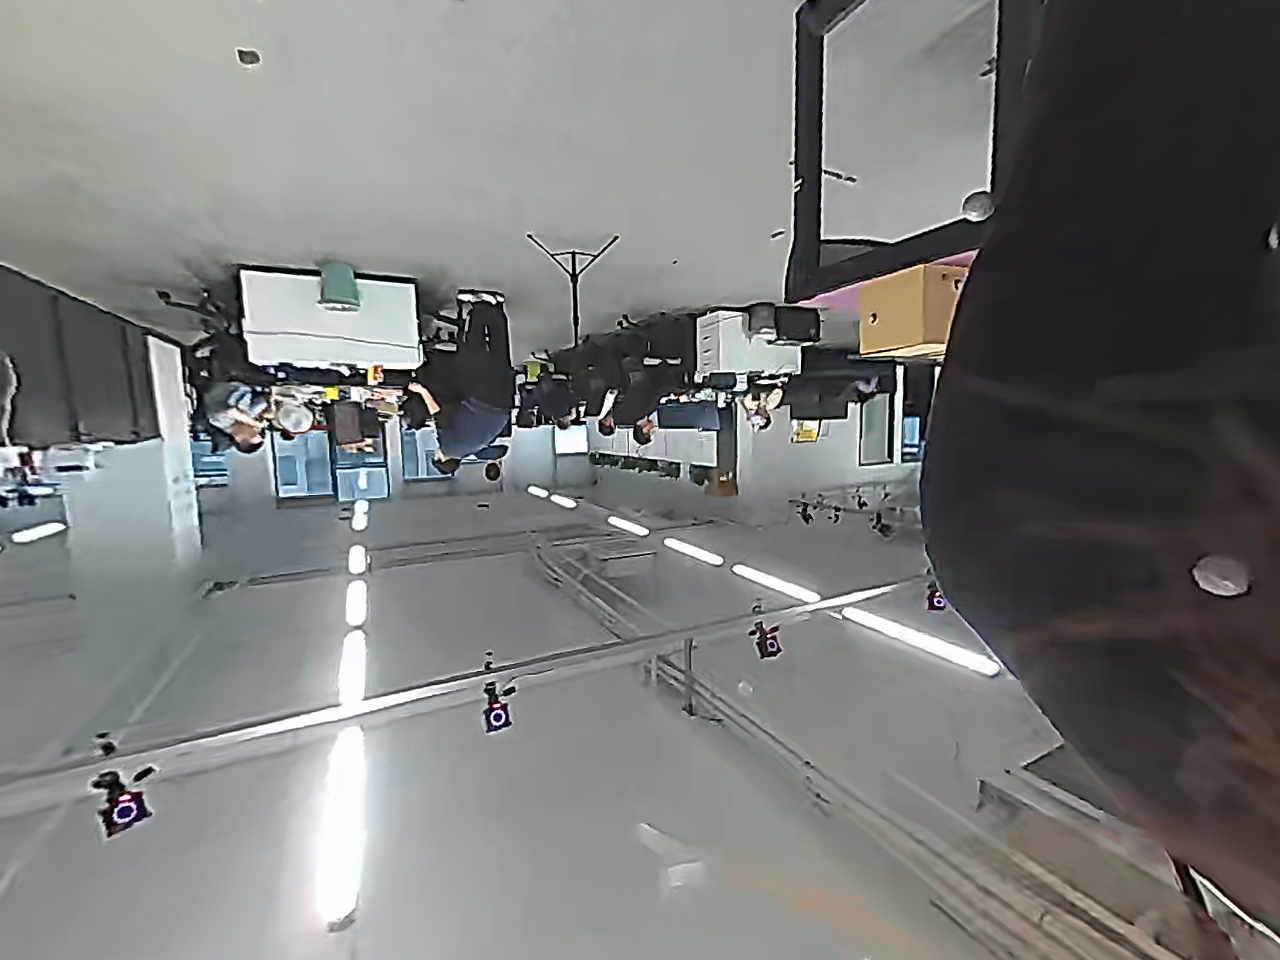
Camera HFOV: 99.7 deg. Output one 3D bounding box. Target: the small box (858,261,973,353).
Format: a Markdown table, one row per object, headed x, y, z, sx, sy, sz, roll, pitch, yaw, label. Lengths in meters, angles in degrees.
| x | y | z | sx | sy | sz | roll | pitch | yaw | label |
| --- | --- | --- | --- | --- | --- | --- | --- | --- | --- |
| 0.621 | -0.382 | 1.220 | 0.168 | 0.176 | 0.179 | -7 | -172 | -22 | small box |
